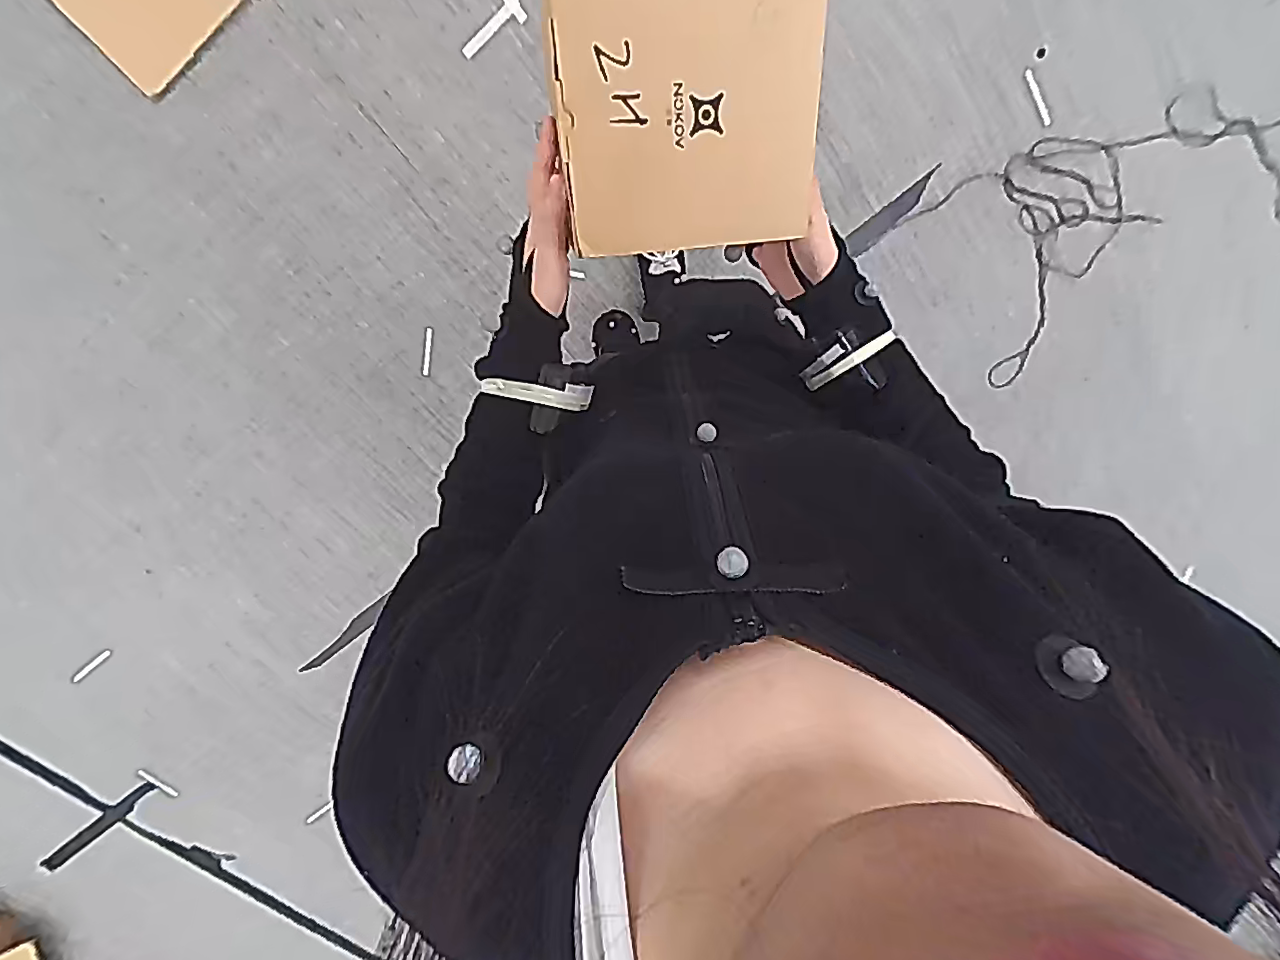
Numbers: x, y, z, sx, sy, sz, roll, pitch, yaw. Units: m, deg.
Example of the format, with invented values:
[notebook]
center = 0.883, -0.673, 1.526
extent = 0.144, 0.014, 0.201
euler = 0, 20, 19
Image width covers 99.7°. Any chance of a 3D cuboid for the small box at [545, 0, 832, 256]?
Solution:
[small box]
center = 0.025, -0.279, 0.423
extent = 0.179, 0.176, 0.168
euler = -8, 119, -6
